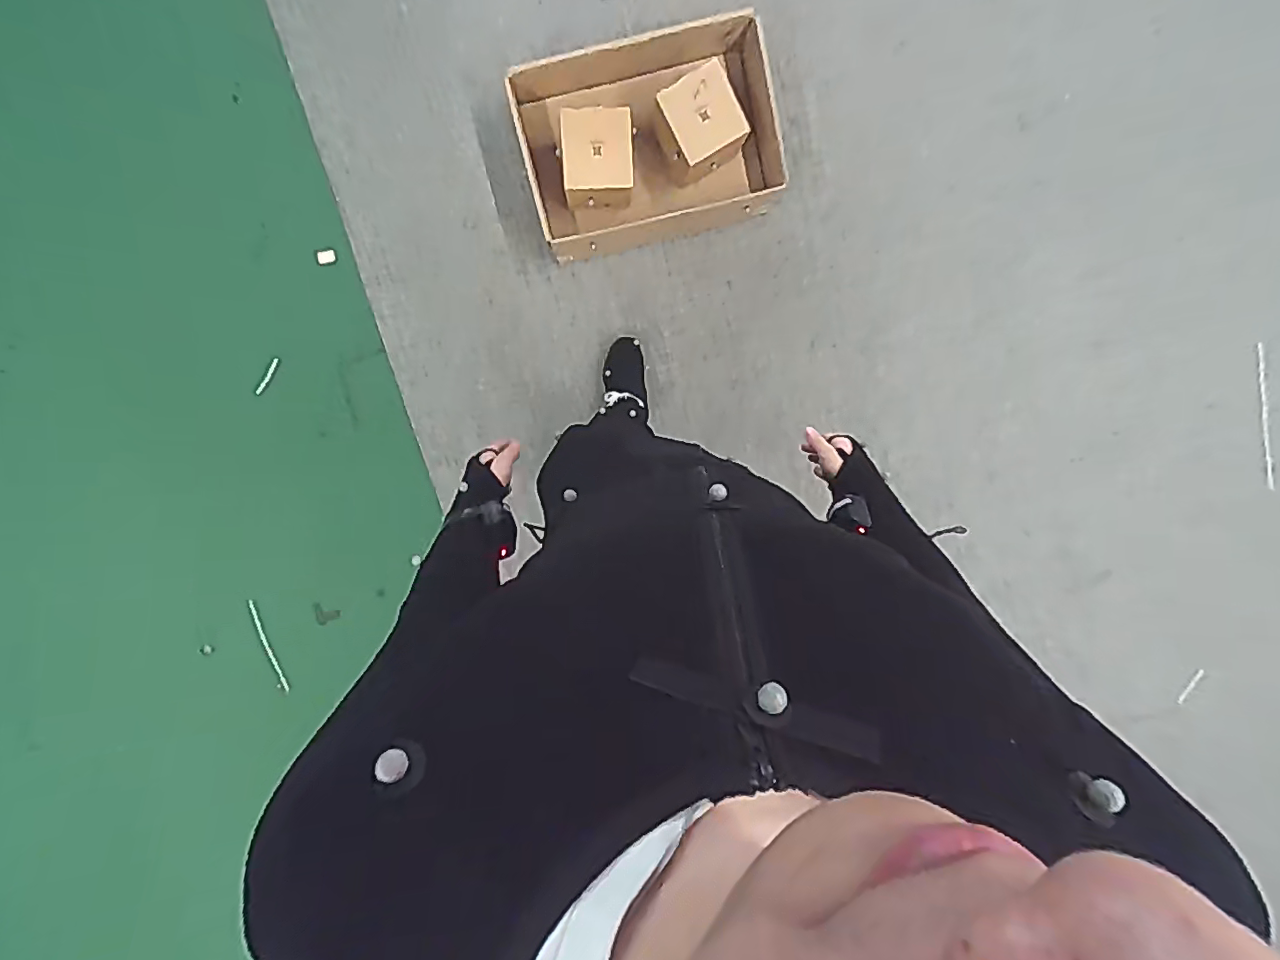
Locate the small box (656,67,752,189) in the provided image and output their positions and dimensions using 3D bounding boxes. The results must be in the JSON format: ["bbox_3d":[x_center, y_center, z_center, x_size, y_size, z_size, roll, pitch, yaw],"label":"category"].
[{"bbox_3d":[0.151,-0.853,1.338,0.168,0.176,0.179,-29,100,3],"label":"small box"}]

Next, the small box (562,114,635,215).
[{"bbox_3d":[-0.099,-0.772,1.341,0.168,0.176,0.179,-3,99,-3],"label":"small box"}]
